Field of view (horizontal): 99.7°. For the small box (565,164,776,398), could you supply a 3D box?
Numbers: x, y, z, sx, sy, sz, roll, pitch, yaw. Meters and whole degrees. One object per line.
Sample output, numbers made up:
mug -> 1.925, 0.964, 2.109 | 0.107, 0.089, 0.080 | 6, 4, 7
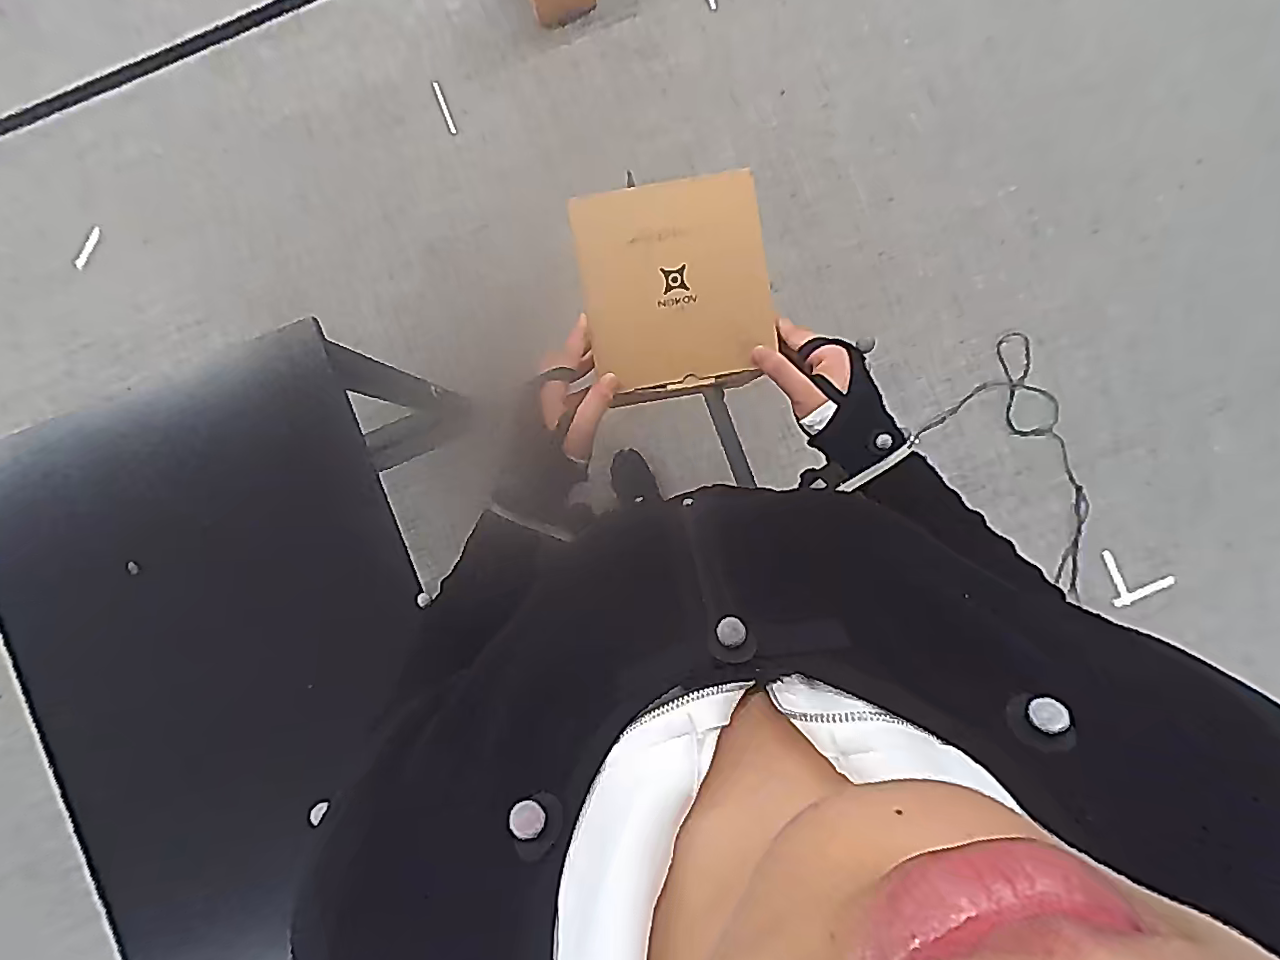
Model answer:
small box -> 0.027, -0.183, 0.553 | 0.168, 0.176, 0.179 | -10, 94, -1

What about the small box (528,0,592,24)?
small box -> -0.235, -1.361, 1.422 | 0.179, 0.176, 0.168 | -21, 91, 0
